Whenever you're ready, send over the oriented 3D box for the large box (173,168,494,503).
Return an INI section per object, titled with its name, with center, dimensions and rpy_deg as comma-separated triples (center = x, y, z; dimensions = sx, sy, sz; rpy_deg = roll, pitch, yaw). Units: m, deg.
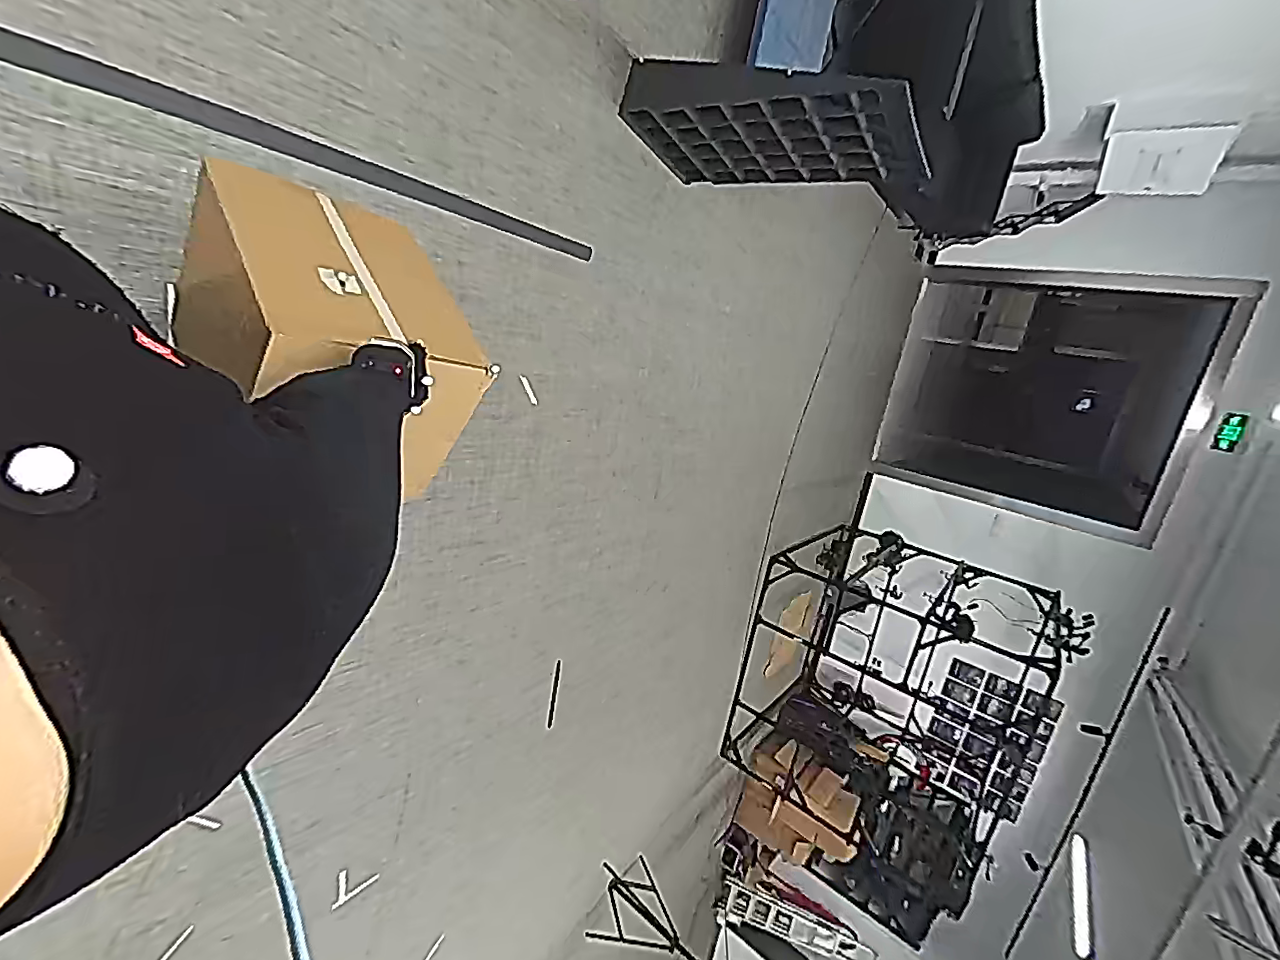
[large box]
center = -0.522, -0.214, 0.904
dimensions = 0.320, 0.408, 0.320
rpy_deg = -1, 141, -51
